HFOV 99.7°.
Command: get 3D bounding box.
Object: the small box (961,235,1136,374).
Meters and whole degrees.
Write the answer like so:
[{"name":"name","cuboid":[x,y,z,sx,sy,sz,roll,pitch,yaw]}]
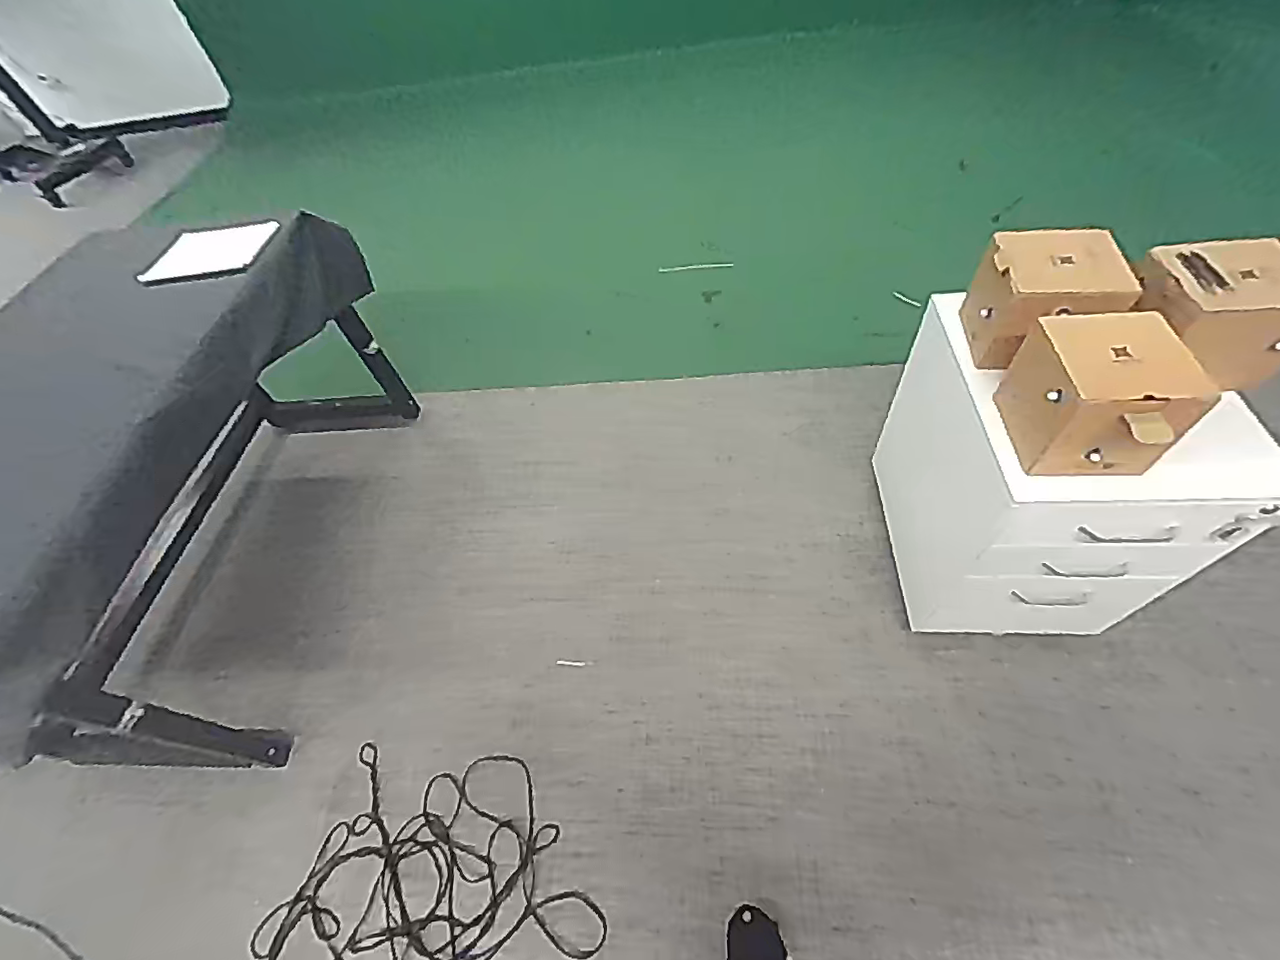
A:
[{"name":"small box","cuboid":[0.686,-0.301,0.939,0.179,0.176,0.168,3,56,9]}]
